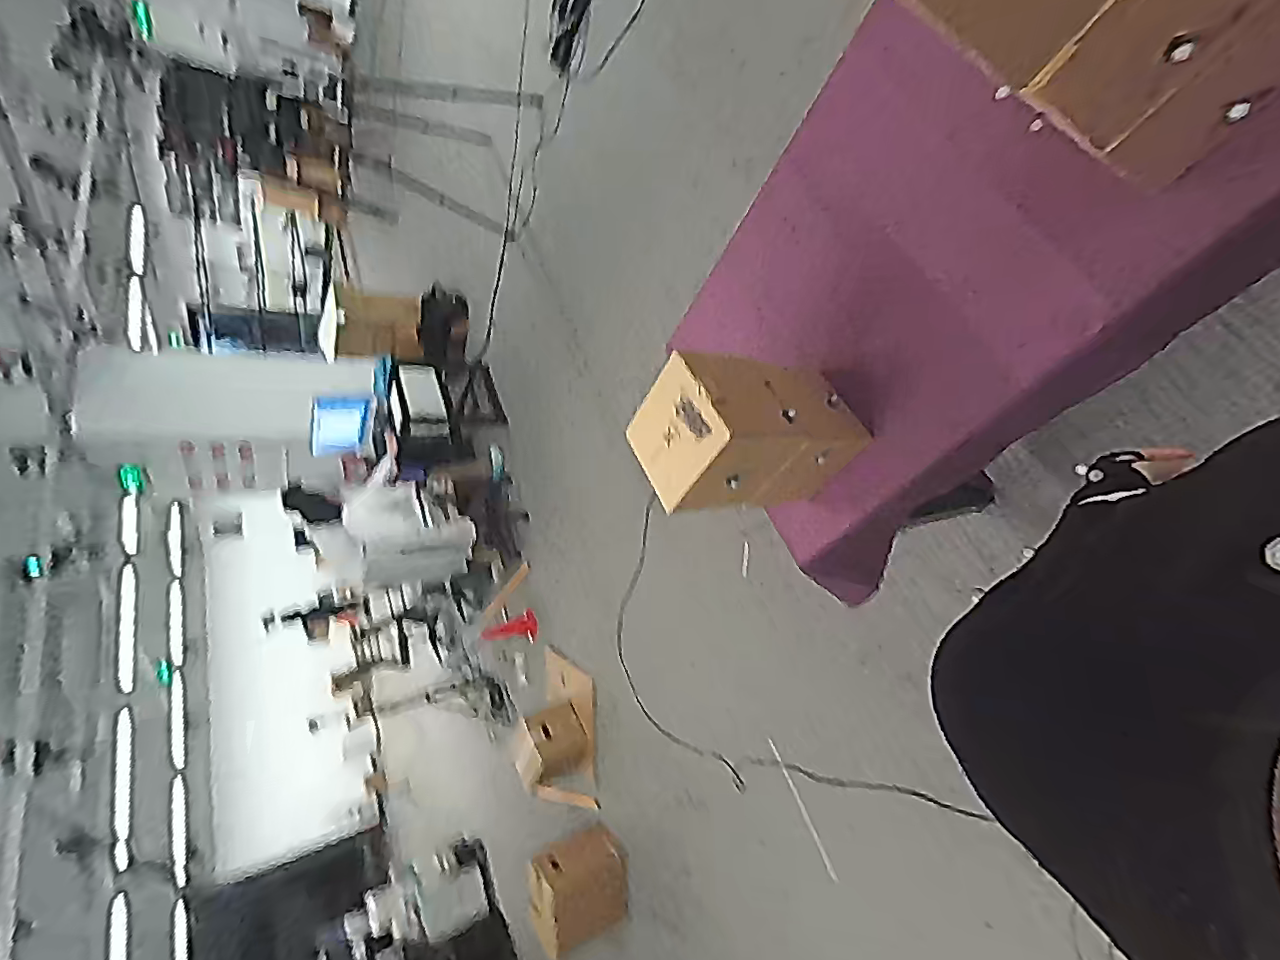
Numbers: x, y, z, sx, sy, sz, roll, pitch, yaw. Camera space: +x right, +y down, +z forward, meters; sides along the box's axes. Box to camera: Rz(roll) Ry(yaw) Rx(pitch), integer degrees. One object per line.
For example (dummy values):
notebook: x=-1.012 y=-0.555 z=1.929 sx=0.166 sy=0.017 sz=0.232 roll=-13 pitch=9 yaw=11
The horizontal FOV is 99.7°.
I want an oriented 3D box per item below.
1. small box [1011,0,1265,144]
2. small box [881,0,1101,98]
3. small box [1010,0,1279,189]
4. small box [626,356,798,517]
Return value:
small box: x=0.363 y=-0.412 z=0.436 sx=0.168 sy=0.176 sz=0.179 roll=-51 pitch=55 yaw=44
small box: x=0.230 y=-0.397 z=0.341 sx=0.179 sy=0.176 sz=0.168 roll=-48 pitch=56 yaw=44
small box: x=0.494 y=-0.421 z=0.533 sx=0.168 sy=0.176 sz=0.179 roll=-52 pitch=54 yaw=45
small box: x=0.113 y=-0.067 z=0.825 sx=0.179 sy=0.176 sz=0.168 roll=-56 pitch=51 yaw=41
